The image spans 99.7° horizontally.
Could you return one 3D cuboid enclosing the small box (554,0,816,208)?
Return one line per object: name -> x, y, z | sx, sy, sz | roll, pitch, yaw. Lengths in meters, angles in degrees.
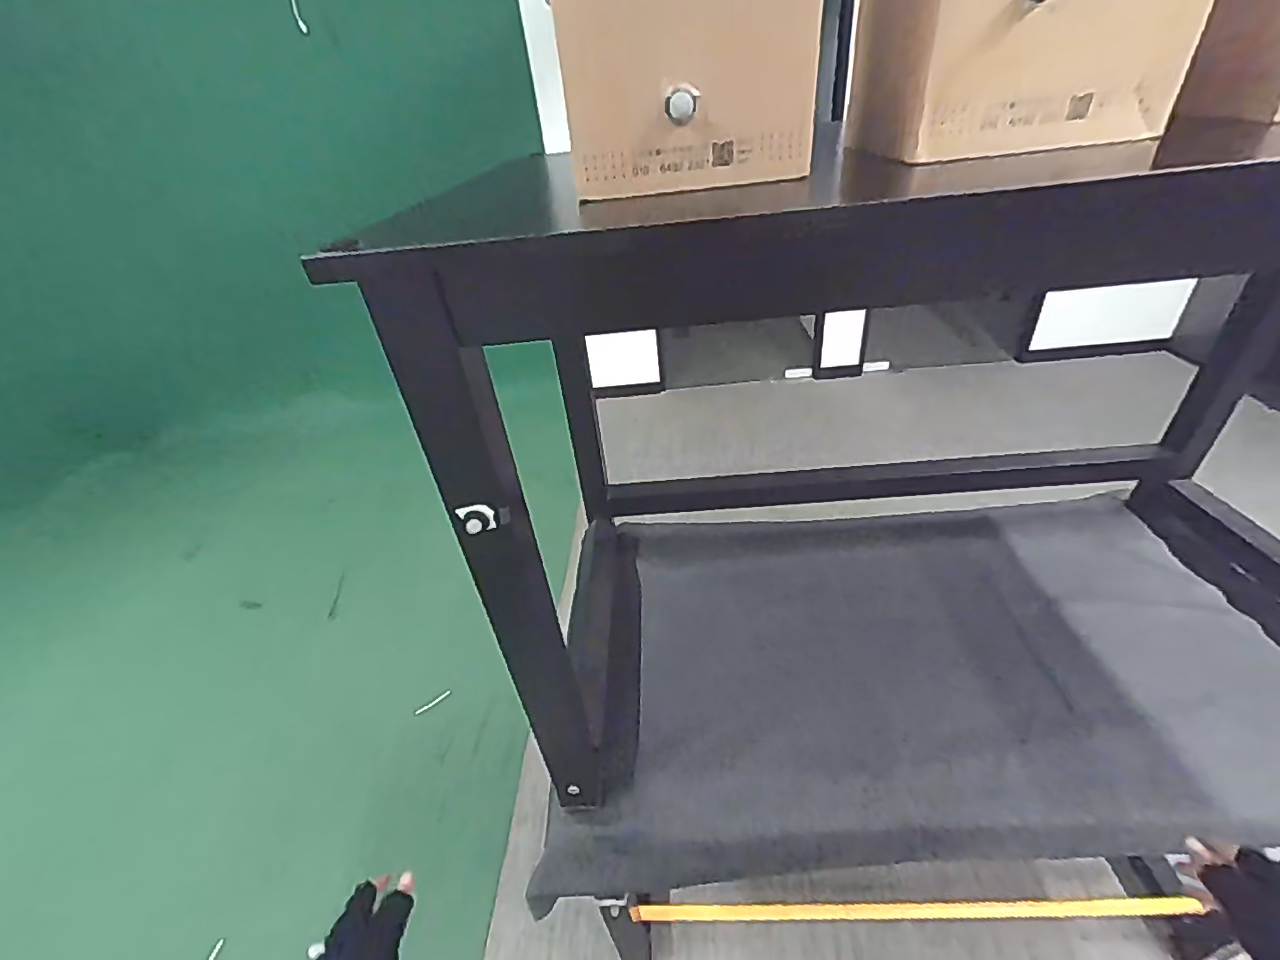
small box -> 0.029, -0.317, 0.417 | 0.168, 0.176, 0.179 | -5, 36, 3
